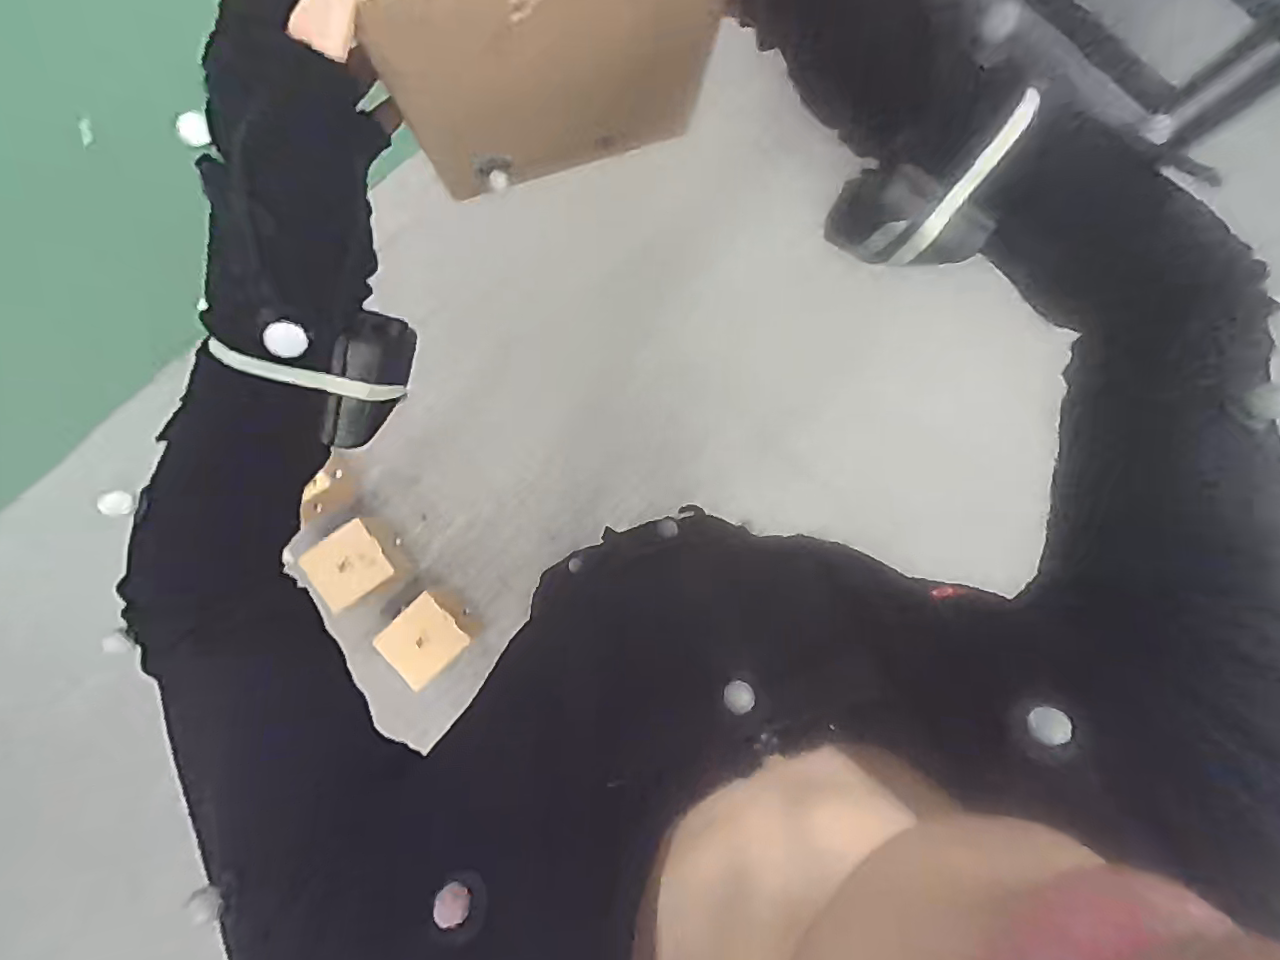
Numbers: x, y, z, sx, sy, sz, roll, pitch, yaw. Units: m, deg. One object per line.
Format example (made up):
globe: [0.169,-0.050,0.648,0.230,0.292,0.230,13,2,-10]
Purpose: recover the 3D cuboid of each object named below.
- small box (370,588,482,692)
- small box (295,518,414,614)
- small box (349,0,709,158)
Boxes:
small box: [-0.524,0.392,1.355,0.179,0.176,0.168,-44,87,-7]
small box: [-0.710,0.214,1.366,0.179,0.176,0.168,-36,87,-6]
small box: [-0.062,-0.293,0.267,0.168,0.176,0.179,-17,94,-3]
